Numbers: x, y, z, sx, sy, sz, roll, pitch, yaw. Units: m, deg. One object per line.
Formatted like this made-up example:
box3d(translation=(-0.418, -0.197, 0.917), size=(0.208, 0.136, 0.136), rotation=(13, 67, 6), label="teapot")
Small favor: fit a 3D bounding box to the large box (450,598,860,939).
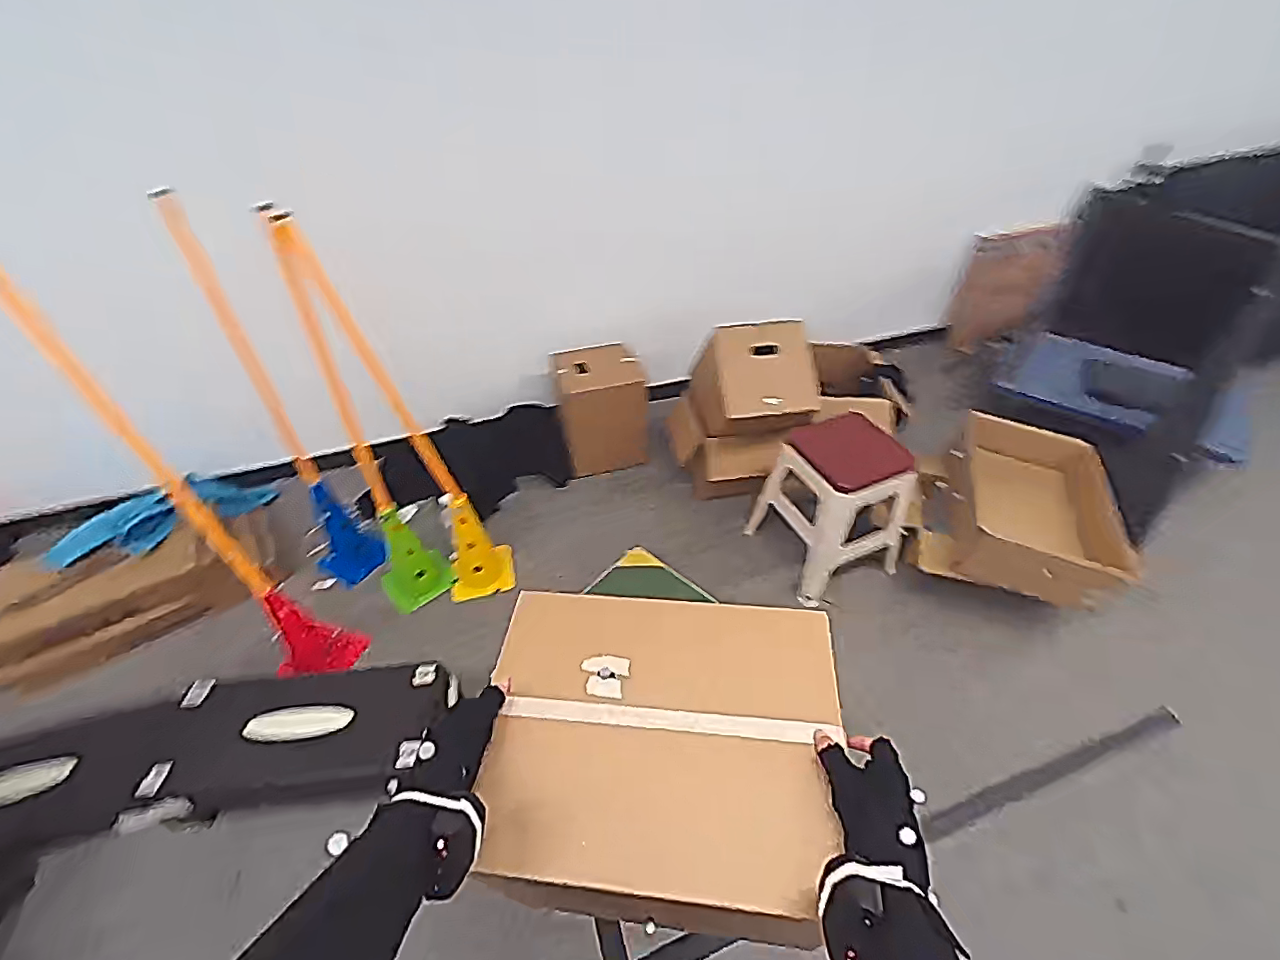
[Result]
box3d(translation=(0.036, 0.381, 0.722), size=(0.408, 0.320, 0.320), rotation=(3, 46, 9), label="large box")
